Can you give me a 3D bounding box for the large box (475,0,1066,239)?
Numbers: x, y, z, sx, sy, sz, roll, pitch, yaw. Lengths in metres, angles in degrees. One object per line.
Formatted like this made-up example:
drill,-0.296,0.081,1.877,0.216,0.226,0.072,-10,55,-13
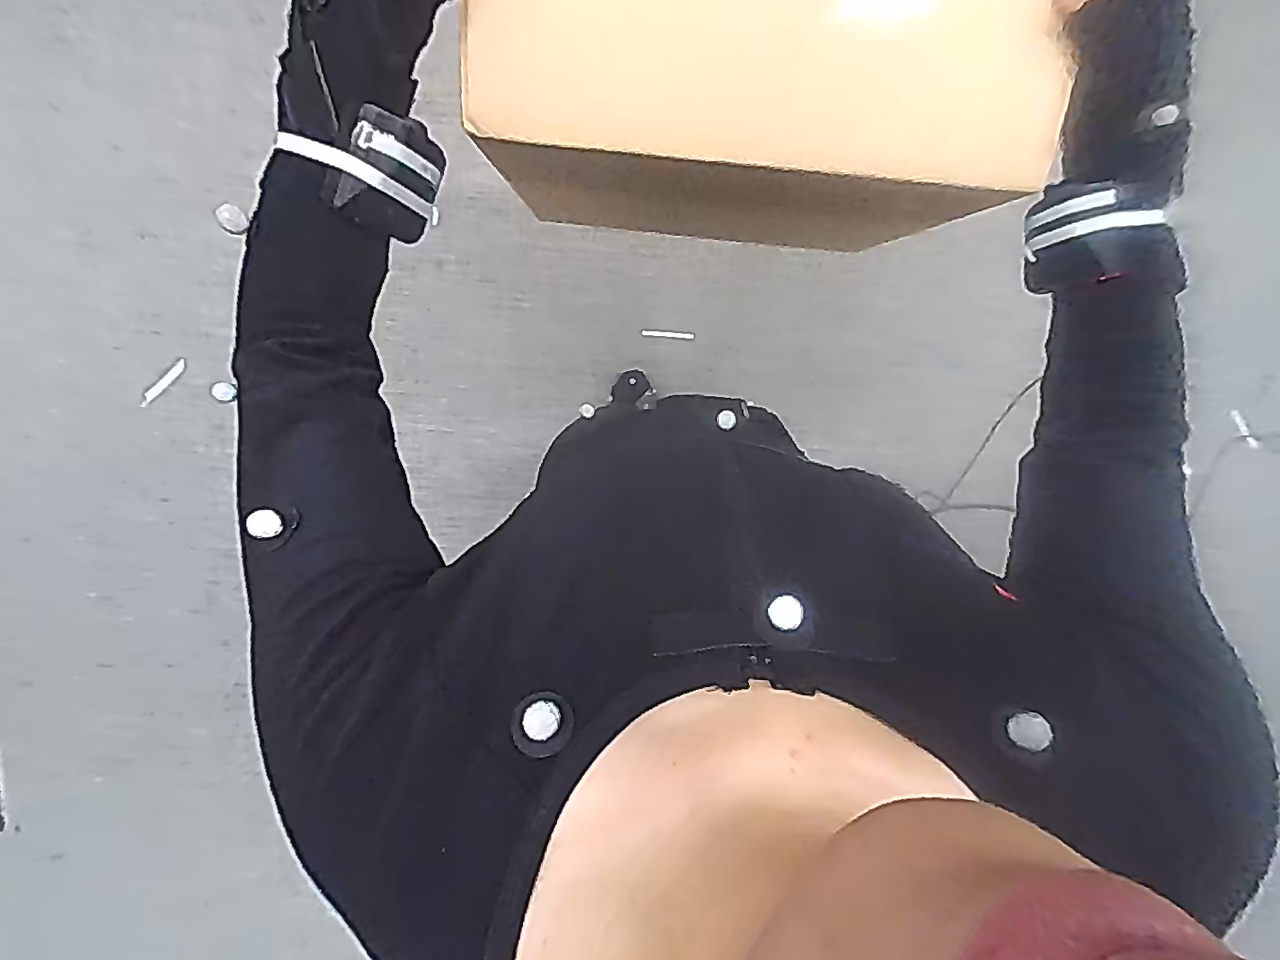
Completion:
large box,0.087,-0.420,0.486,0.408,0.320,0.320,4,106,-4
